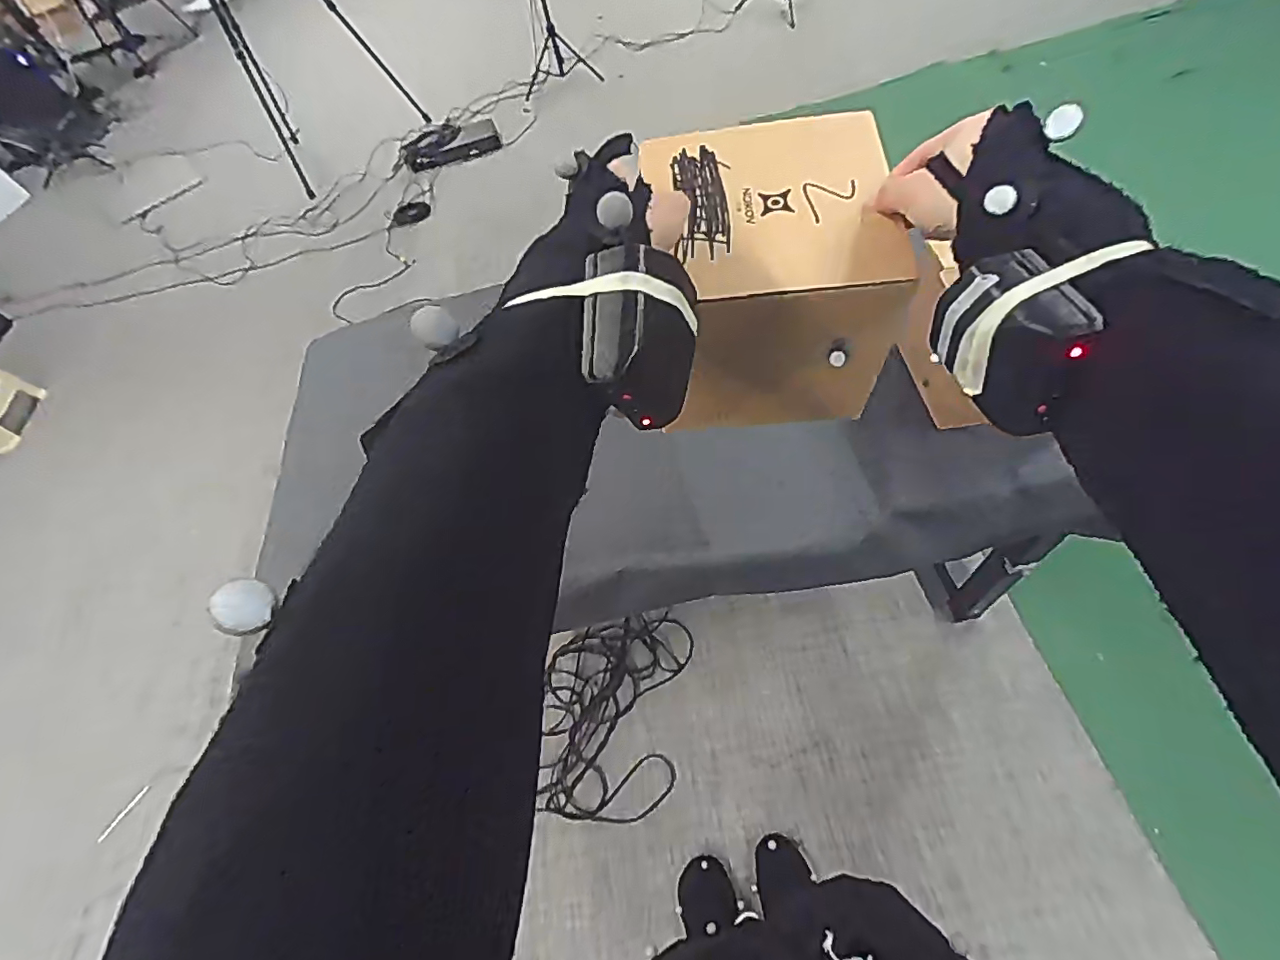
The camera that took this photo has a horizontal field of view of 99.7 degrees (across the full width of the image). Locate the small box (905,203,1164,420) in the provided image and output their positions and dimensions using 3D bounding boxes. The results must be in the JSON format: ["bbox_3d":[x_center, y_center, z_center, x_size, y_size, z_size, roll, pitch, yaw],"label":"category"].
[{"bbox_3d":[0.437,-0.190,0.646,0.179,0.176,0.168,-9,59,6],"label":"small box"}]
